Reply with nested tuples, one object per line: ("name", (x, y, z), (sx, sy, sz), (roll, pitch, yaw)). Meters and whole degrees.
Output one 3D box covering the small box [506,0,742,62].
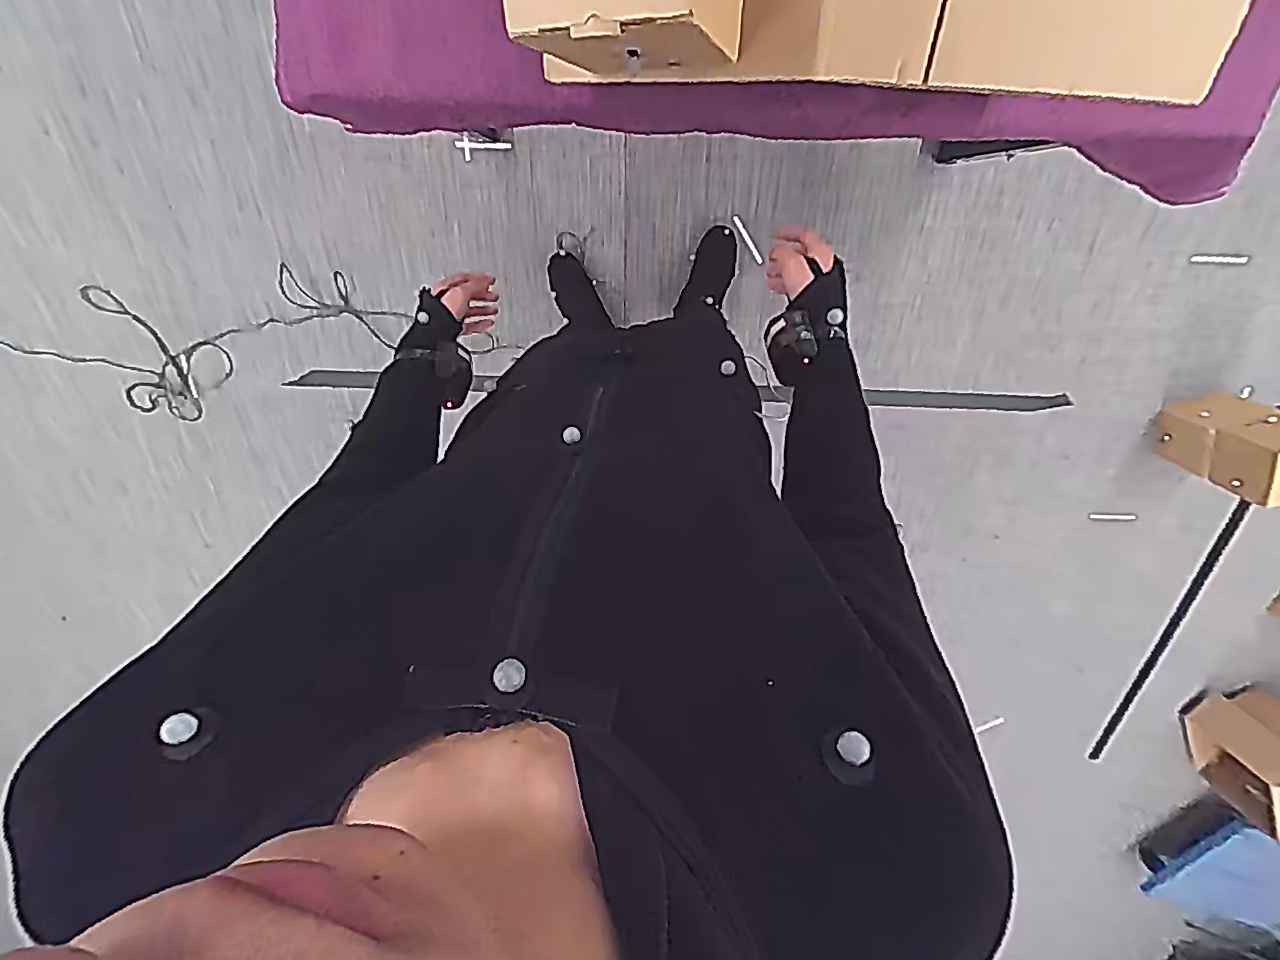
("small box", (-0.005, -0.475, 0.460), (0.168, 0.176, 0.179), (11, 120, 18))
